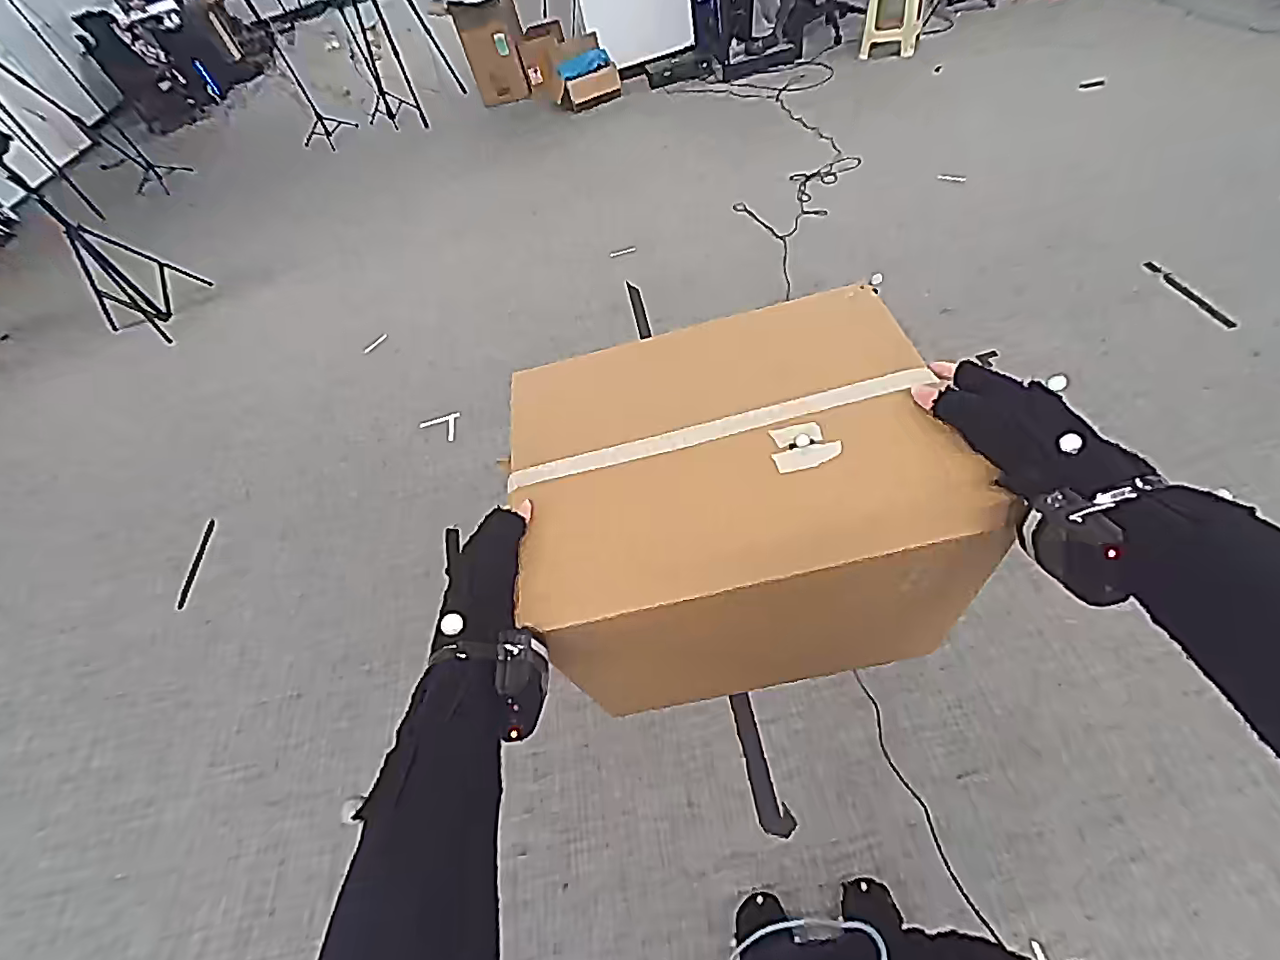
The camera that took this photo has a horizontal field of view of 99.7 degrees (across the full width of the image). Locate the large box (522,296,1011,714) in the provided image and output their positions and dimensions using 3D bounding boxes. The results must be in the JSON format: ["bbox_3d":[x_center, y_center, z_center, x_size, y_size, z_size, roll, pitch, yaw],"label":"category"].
[{"bbox_3d":[0.106,0.046,0.641,0.408,0.320,0.320,-14,54,4],"label":"large box"}]
